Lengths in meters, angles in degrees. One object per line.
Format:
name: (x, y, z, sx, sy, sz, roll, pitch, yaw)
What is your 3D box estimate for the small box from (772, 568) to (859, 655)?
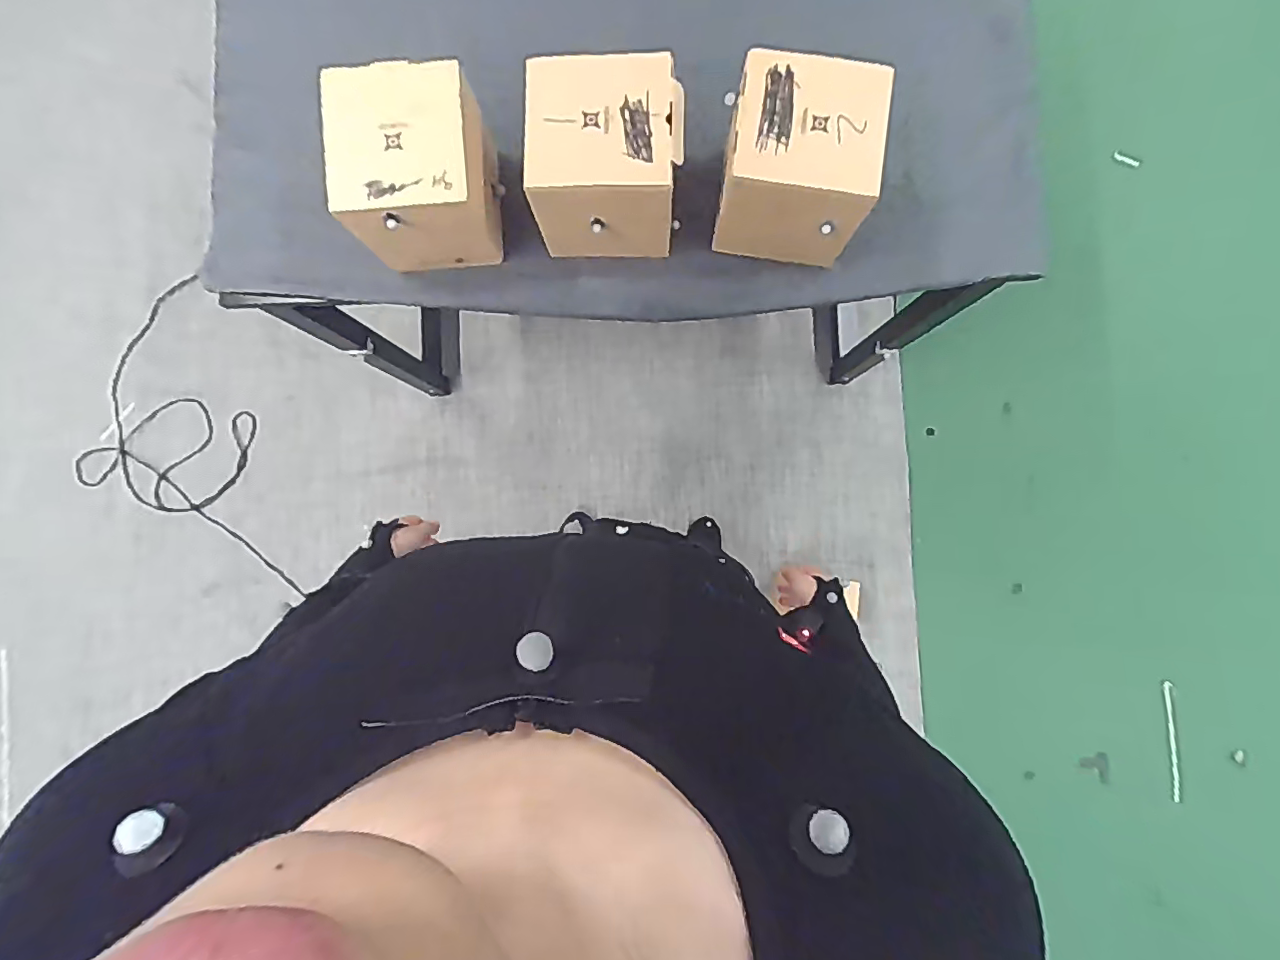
small box: (0.445, 0.333, 1.394, 0.168, 0.176, 0.179, 7, 87, 1)

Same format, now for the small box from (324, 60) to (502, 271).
small box: (-0.287, -0.400, 0.712, 0.168, 0.176, 0.179, -4, 87, 2)
